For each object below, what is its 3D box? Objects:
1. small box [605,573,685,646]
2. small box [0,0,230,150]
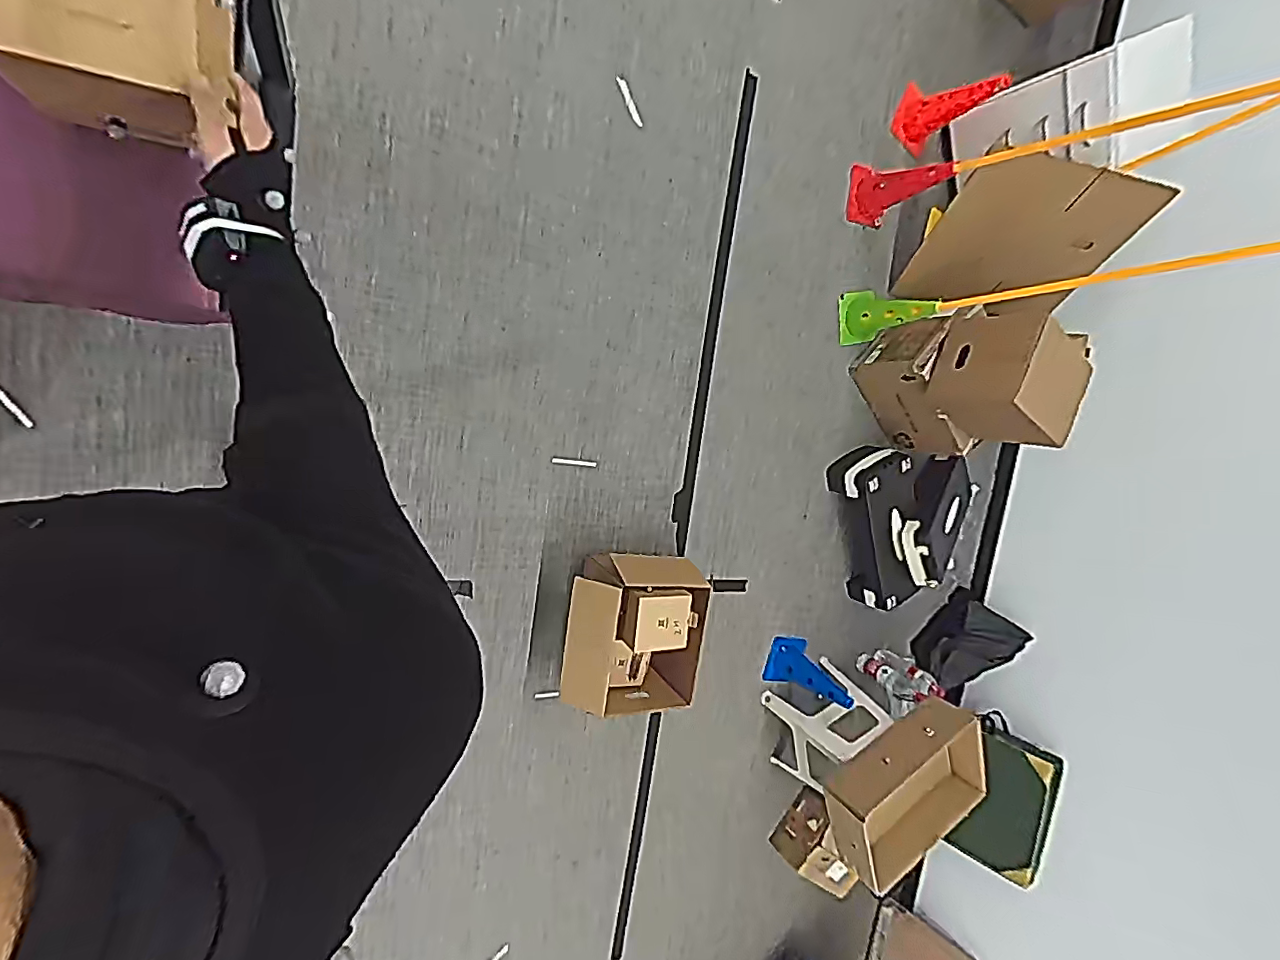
[{"bbox_3d":[0.009,0.386,1.636,0.179,0.176,0.168,4,100,-28],"label":"small box"},{"bbox_3d":[-0.522,-0.466,0.531,0.168,0.176,0.179,0,100,-27],"label":"small box"}]
